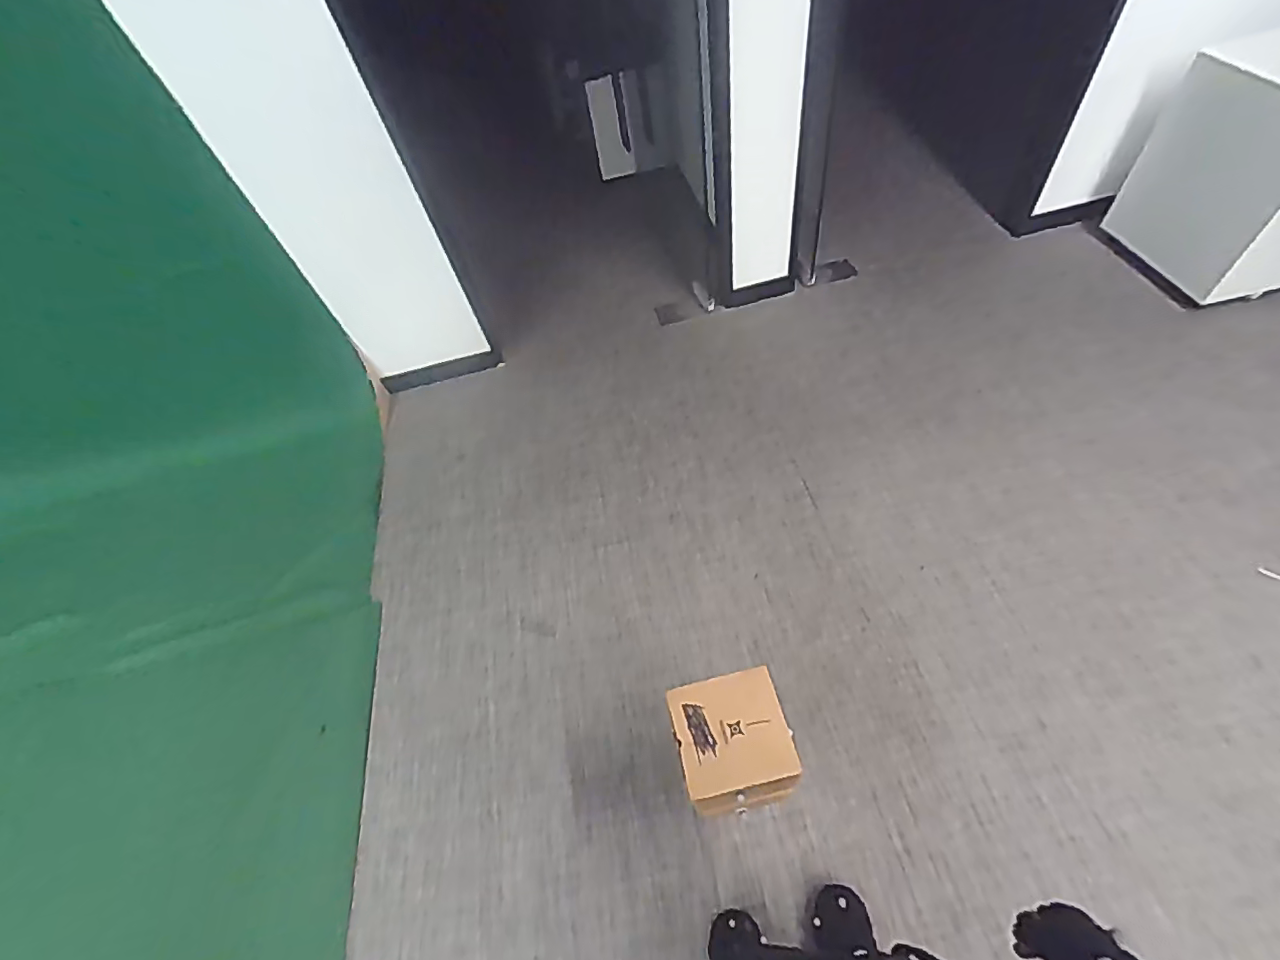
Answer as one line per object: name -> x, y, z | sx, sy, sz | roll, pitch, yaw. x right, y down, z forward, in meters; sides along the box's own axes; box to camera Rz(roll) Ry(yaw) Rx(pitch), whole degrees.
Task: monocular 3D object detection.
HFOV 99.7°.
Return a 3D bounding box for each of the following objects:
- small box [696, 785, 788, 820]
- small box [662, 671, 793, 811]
small box -> 0.173, 0.536, 1.045 | 0.168, 0.176, 0.179 | -16, 55, 1
small box -> 0.149, 0.451, 0.926 | 0.179, 0.176, 0.168 | -15, 54, 1
